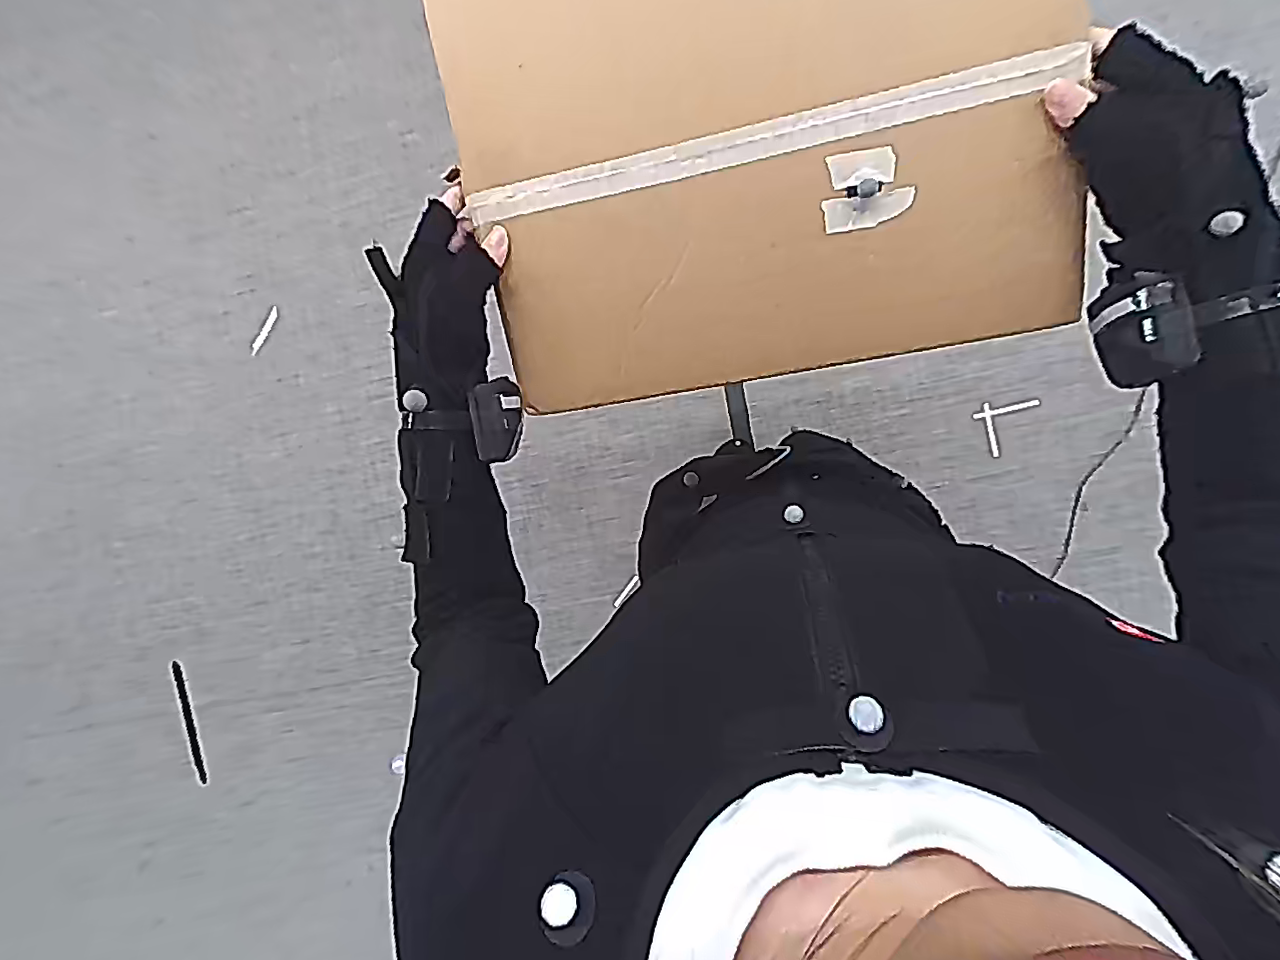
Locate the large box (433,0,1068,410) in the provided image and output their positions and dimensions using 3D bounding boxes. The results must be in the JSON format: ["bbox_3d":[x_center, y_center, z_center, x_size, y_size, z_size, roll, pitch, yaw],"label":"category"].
[{"bbox_3d":[0.092,-0.275,0.518,0.408,0.320,0.320,-9,106,8],"label":"large box"}]
